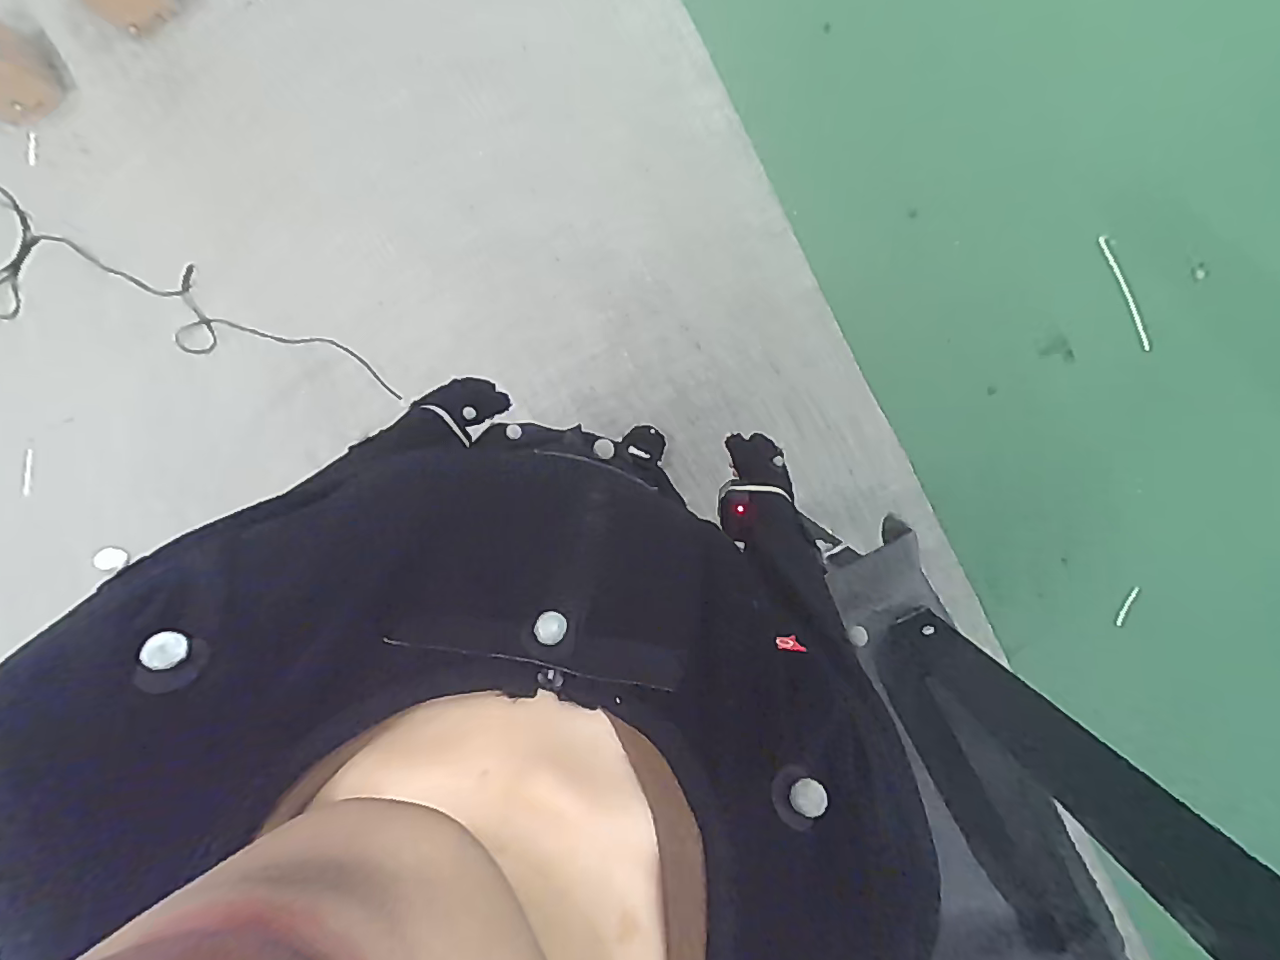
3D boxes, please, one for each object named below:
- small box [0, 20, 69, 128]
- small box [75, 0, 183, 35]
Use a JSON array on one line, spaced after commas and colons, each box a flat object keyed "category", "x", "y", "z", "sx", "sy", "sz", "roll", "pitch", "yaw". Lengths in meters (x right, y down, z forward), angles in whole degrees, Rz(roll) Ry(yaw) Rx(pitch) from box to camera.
[{"category": "small box", "x": -1.624, "y": -1.039, "z": 1.356, "sx": 0.168, "sy": 0.176, "sz": 0.179, "roll": -29, "pitch": 95, "yaw": 6}, {"category": "small box", "x": -1.276, "y": -1.238, "z": 1.312, "sx": 0.168, "sy": 0.176, "sz": 0.179, "roll": -24, "pitch": 95, "yaw": 6}]
